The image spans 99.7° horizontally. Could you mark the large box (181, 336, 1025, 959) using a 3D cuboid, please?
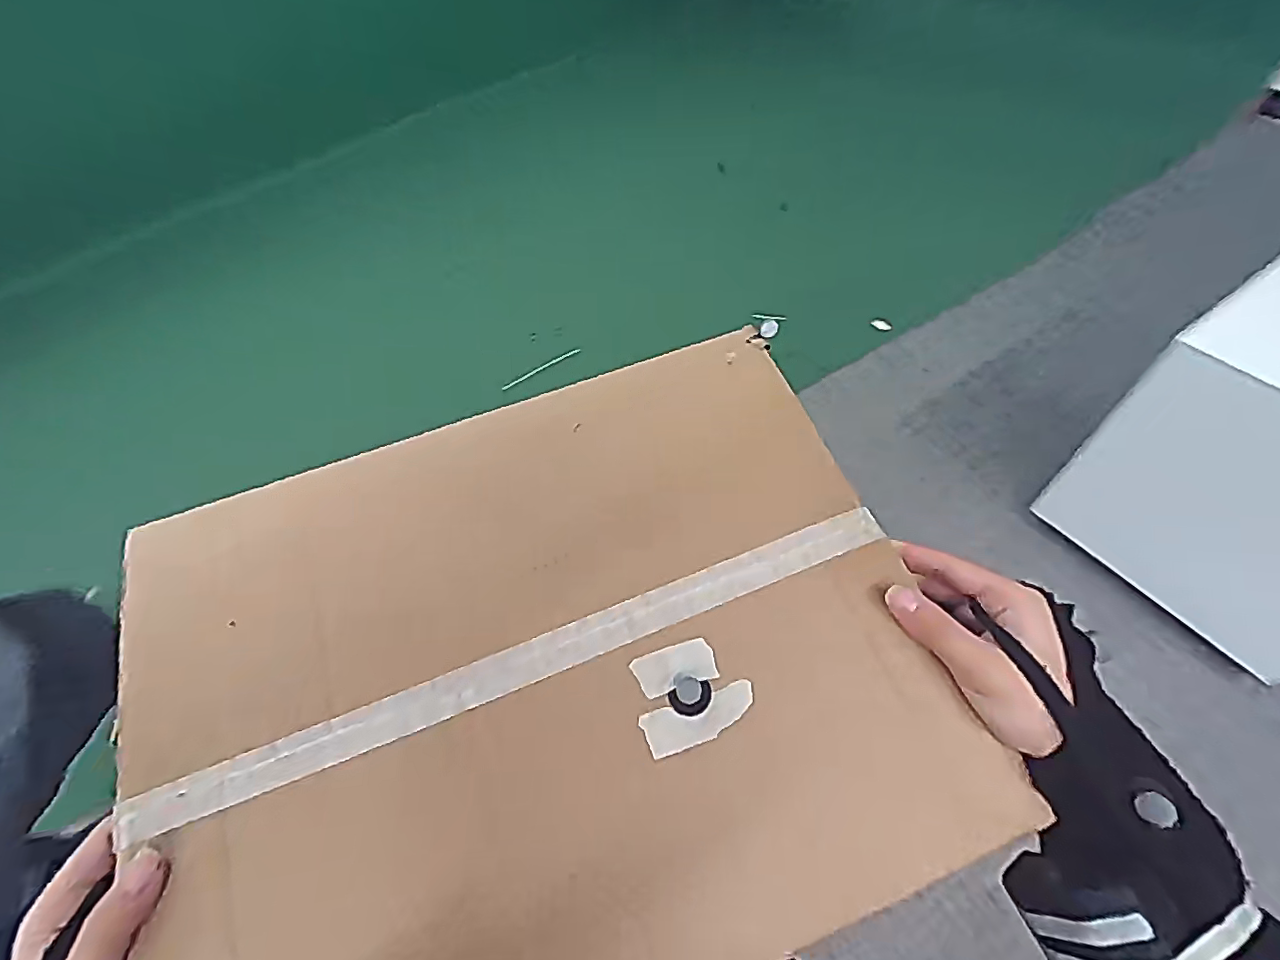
[{"bbox_3d":[-0.043,0.152,0.434,0.408,0.320,0.320,-19,67,-9],"label":"large box"}]
